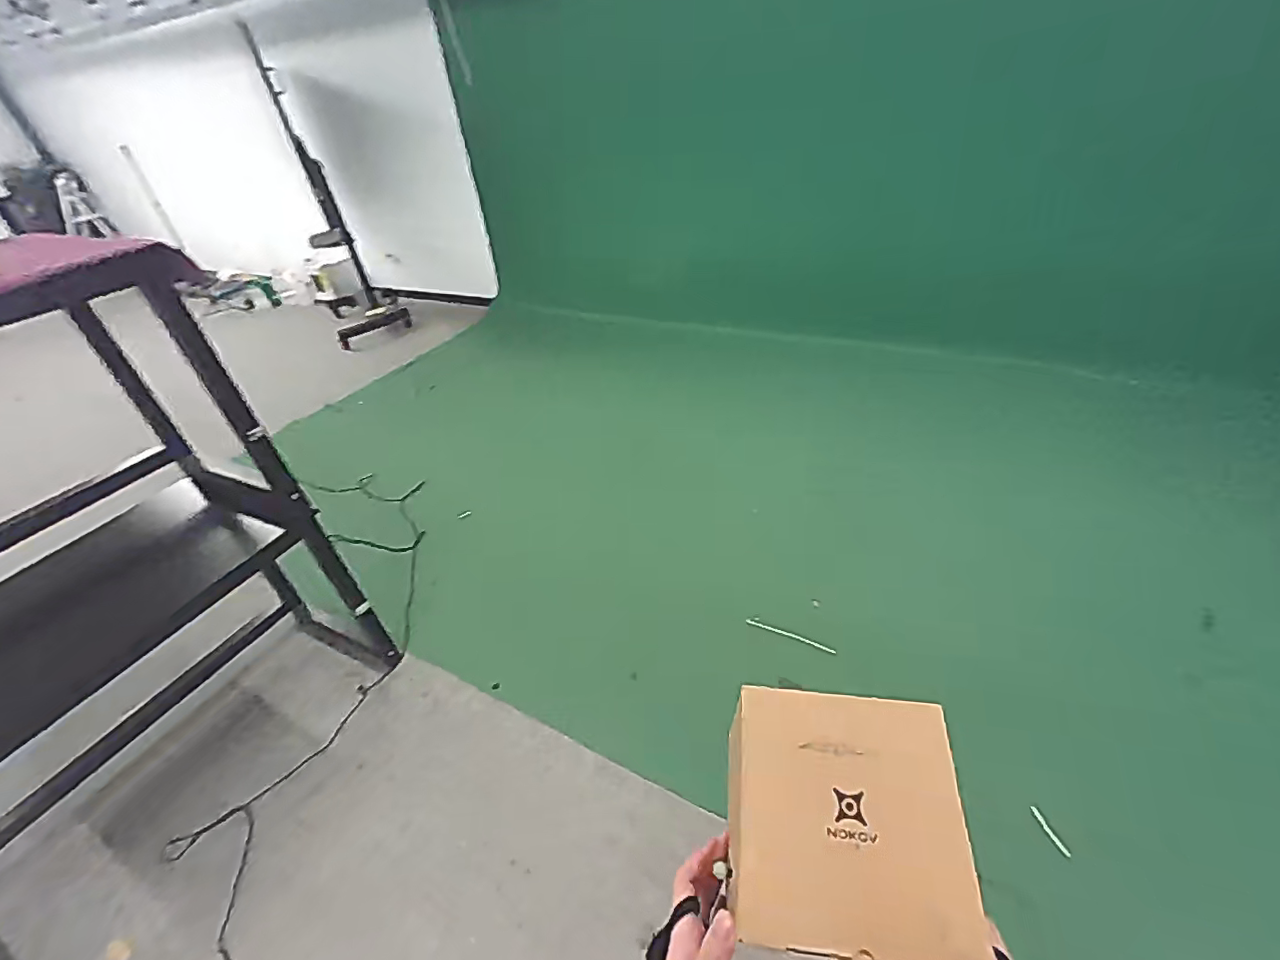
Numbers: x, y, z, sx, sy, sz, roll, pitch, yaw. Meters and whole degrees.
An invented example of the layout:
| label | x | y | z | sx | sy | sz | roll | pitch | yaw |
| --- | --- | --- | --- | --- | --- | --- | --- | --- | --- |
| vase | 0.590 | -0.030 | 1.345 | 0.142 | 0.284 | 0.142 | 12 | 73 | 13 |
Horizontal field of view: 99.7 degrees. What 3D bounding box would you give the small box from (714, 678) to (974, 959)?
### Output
| label | x | y | z | sx | sy | sz | roll | pitch | yaw |
| --- | --- | --- | --- | --- | --- | --- | --- | --- | --- |
| small box | 0.153 | 0.294 | 0.469 | 0.168 | 0.176 | 0.179 | 3 | 52 | 8 |
